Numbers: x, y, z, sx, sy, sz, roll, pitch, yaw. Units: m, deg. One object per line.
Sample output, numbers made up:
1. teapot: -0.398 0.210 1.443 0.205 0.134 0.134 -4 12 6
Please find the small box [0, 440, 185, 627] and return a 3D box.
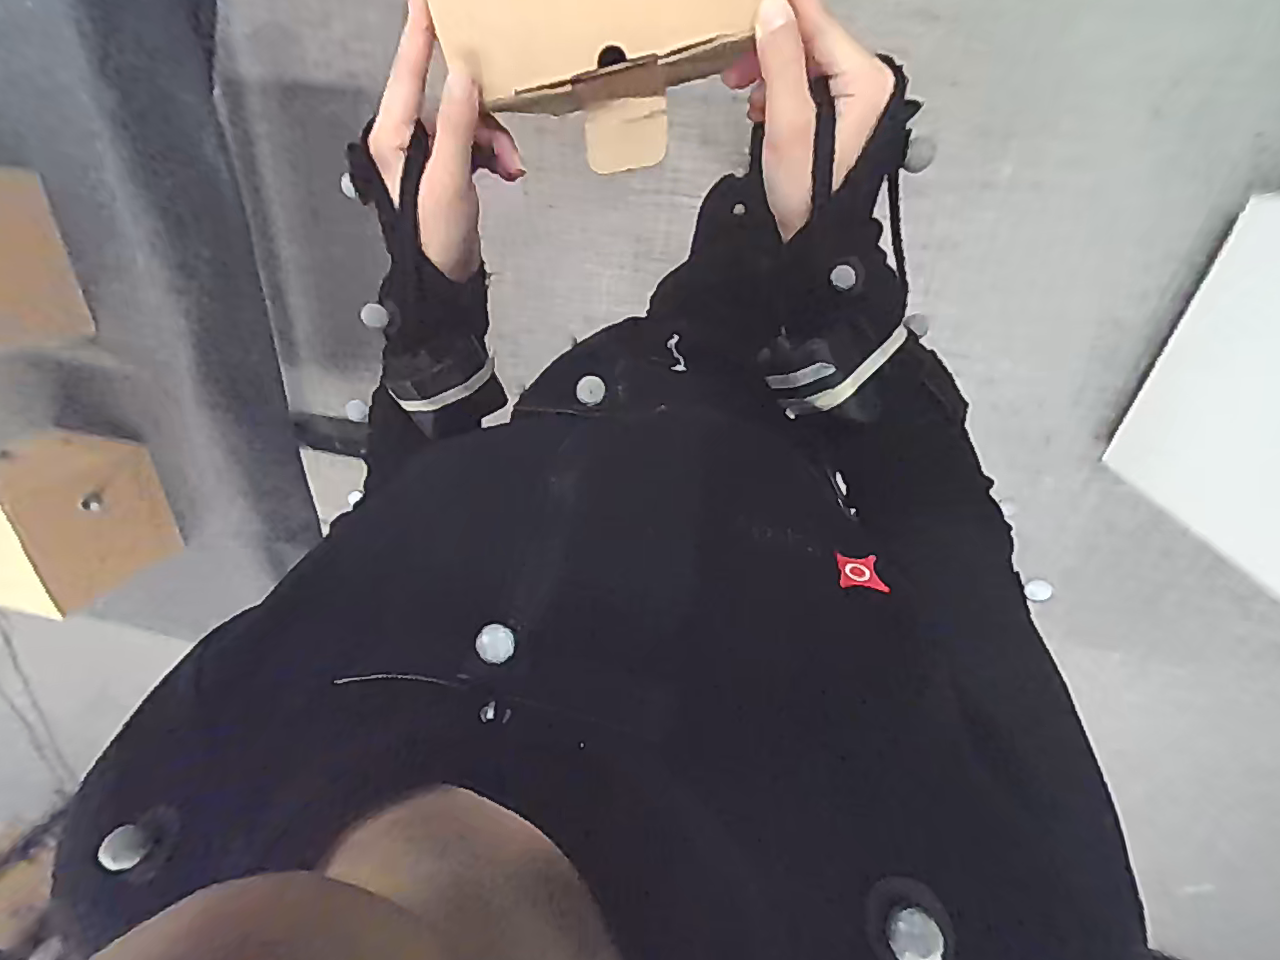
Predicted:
1. small box: -0.773 0.061 0.721 0.168 0.176 0.179 9 119 10
